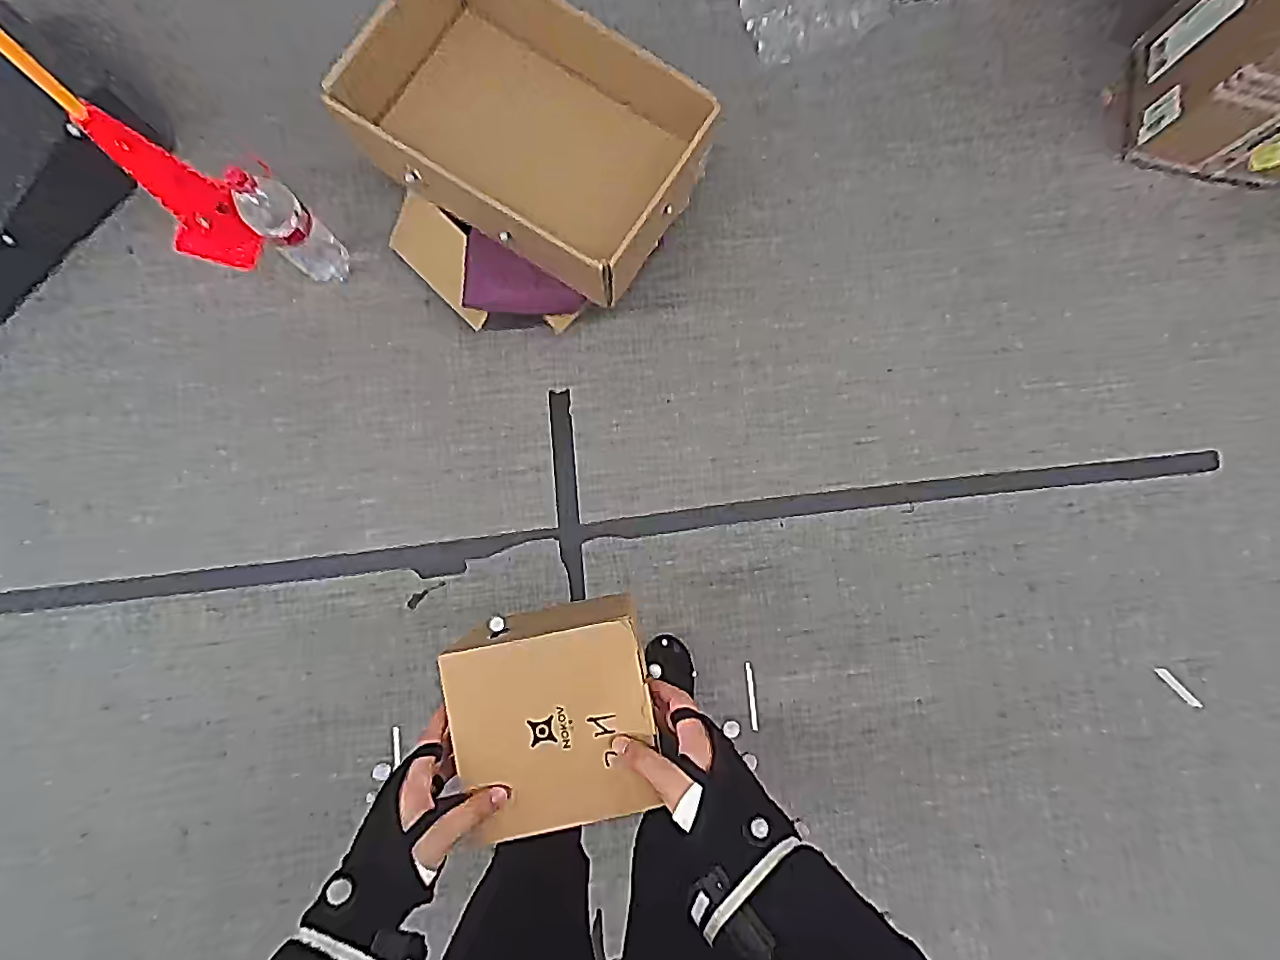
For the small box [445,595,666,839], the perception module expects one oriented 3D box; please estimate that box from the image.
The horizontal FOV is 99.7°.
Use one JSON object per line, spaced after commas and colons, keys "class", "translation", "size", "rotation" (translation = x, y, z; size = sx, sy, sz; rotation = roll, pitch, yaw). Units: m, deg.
{"class": "small box", "translation": [-0.076, 0.223, 0.555], "size": [0.179, 0.176, 0.168], "rotation": [-11, 87, -2]}
